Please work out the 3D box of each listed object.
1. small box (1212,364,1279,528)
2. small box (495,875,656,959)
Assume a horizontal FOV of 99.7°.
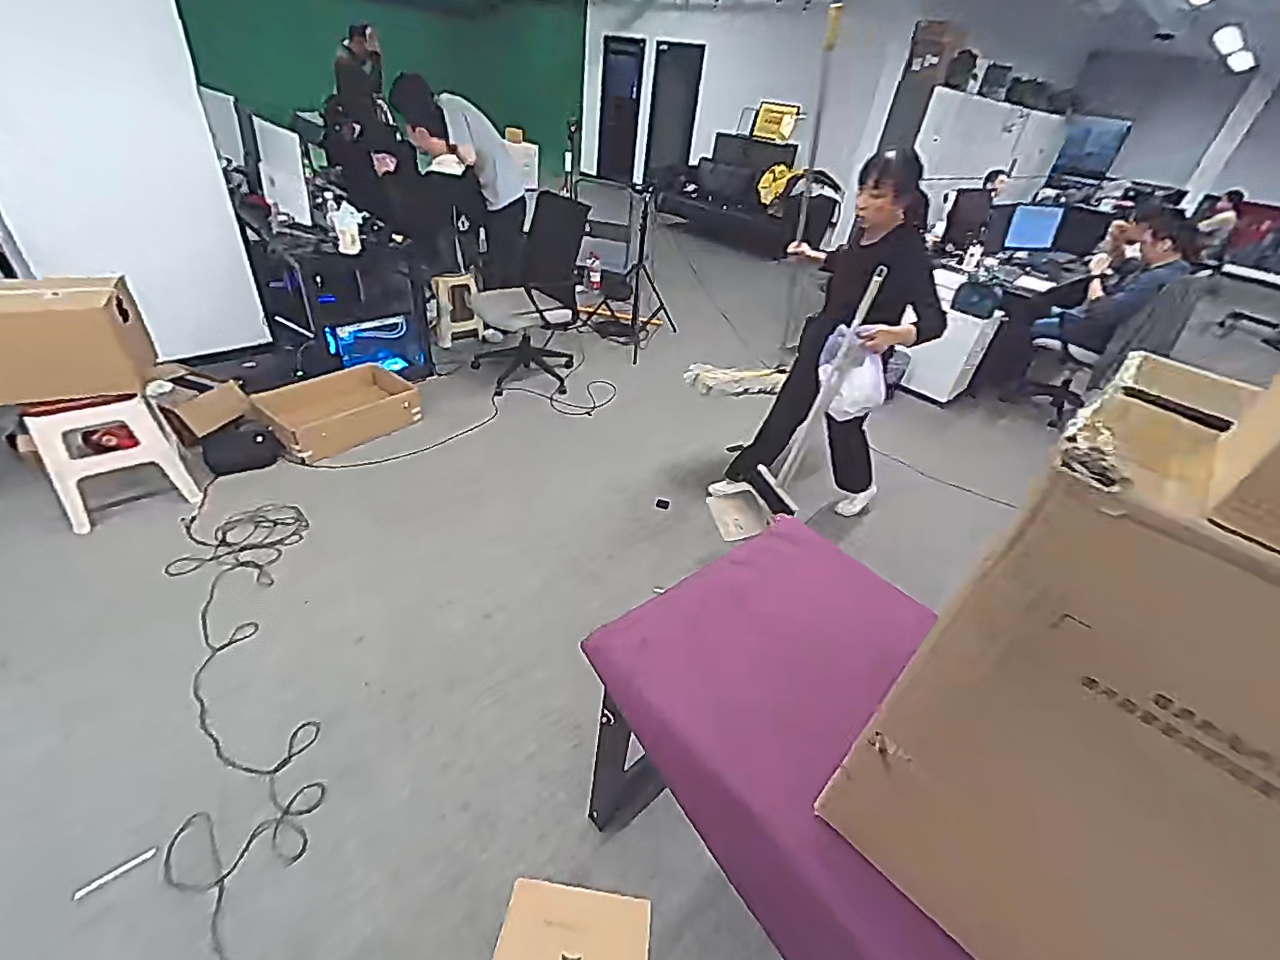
[{"bbox_3d":[0.511,-0.038,0.330,0.179,0.176,0.168,-27,49,-38],"label":"small box"},{"bbox_3d":[-0.078,0.580,0.576,0.168,0.176,0.179,9,16,2],"label":"small box"}]
